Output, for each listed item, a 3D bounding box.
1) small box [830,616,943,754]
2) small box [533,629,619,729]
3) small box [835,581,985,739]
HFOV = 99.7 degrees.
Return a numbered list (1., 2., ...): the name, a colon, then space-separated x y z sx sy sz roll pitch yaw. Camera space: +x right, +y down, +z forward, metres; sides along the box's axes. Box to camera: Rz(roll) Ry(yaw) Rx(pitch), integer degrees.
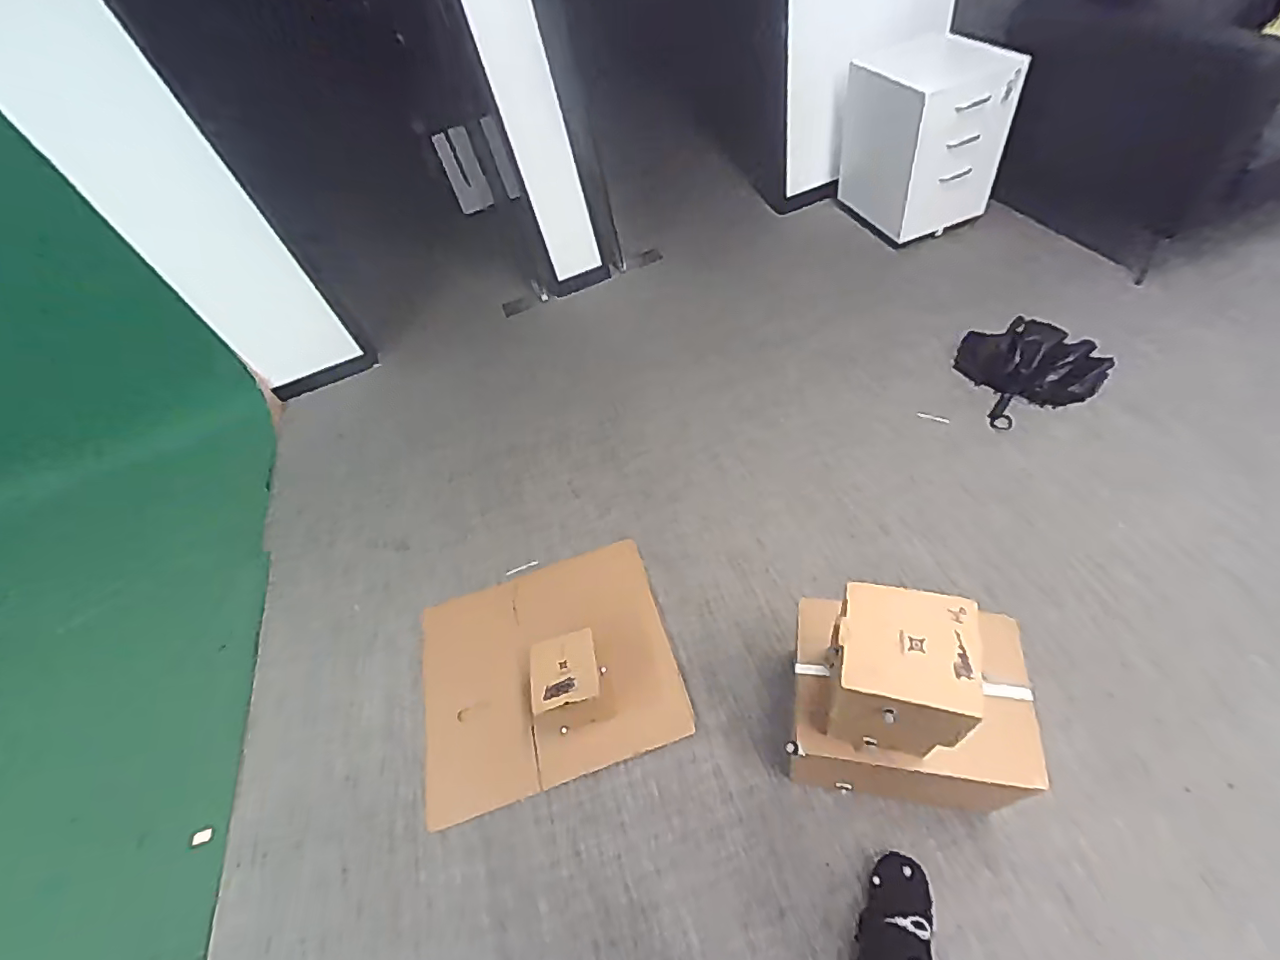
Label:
1. small box: 0.426 0.358 0.949 0.168 0.176 0.179 2 55 18
2. small box: -0.158 0.508 1.361 0.168 0.176 0.179 -16 48 2
3. small box: 0.391 0.272 0.816 0.179 0.176 0.168 3 52 18
